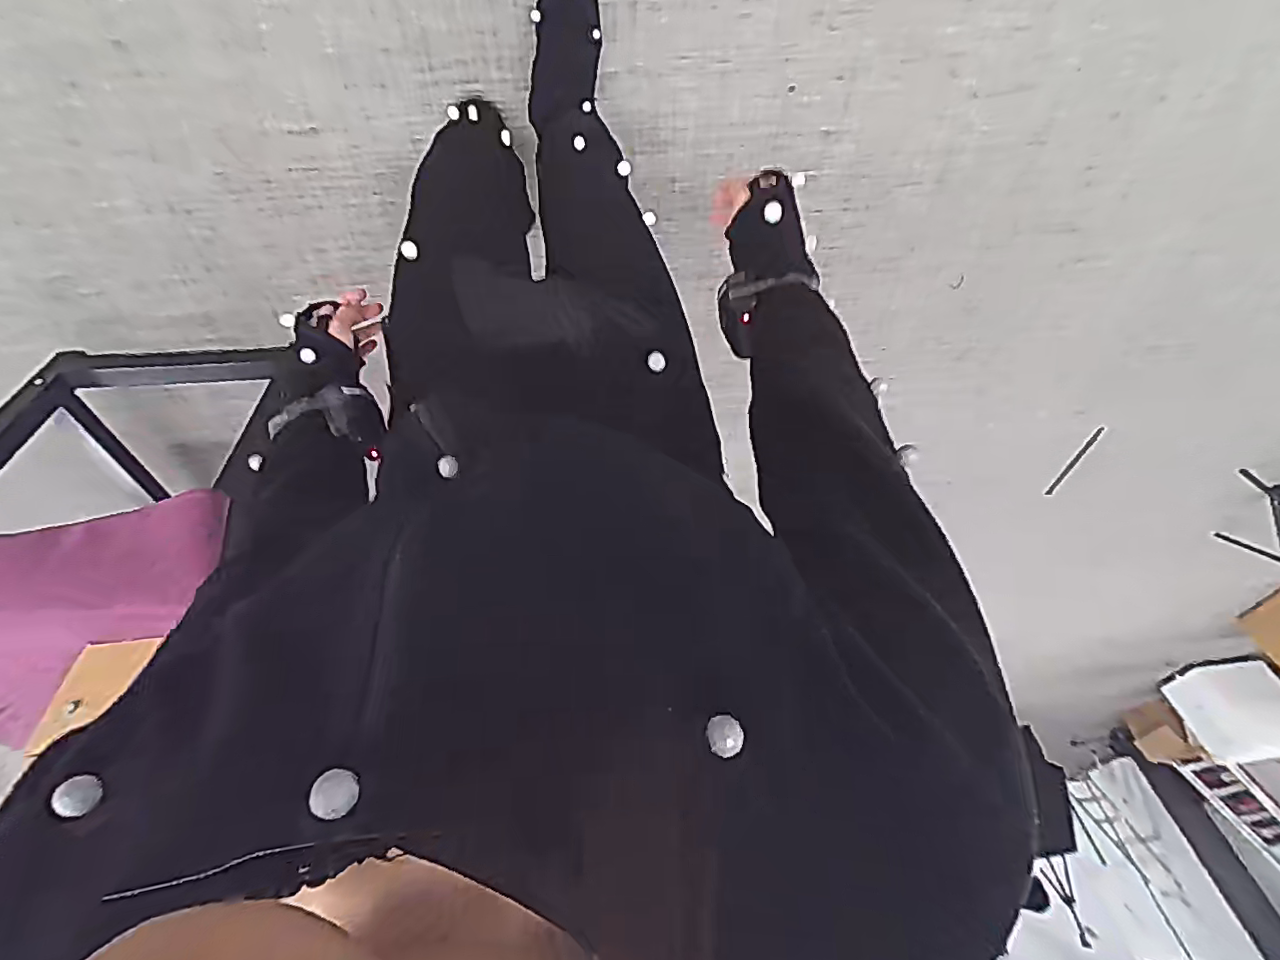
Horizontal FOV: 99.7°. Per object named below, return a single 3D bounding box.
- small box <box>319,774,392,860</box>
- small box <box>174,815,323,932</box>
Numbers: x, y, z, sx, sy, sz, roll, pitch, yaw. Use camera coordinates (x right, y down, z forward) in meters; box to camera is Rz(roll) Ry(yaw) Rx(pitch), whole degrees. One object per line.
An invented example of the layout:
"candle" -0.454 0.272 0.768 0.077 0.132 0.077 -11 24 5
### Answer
"small box" -0.802 0.925 1.489 0.179 0.176 0.168 -3 137 -5
"small box" -0.769 0.793 1.092 0.179 0.176 0.168 -3 139 -6
